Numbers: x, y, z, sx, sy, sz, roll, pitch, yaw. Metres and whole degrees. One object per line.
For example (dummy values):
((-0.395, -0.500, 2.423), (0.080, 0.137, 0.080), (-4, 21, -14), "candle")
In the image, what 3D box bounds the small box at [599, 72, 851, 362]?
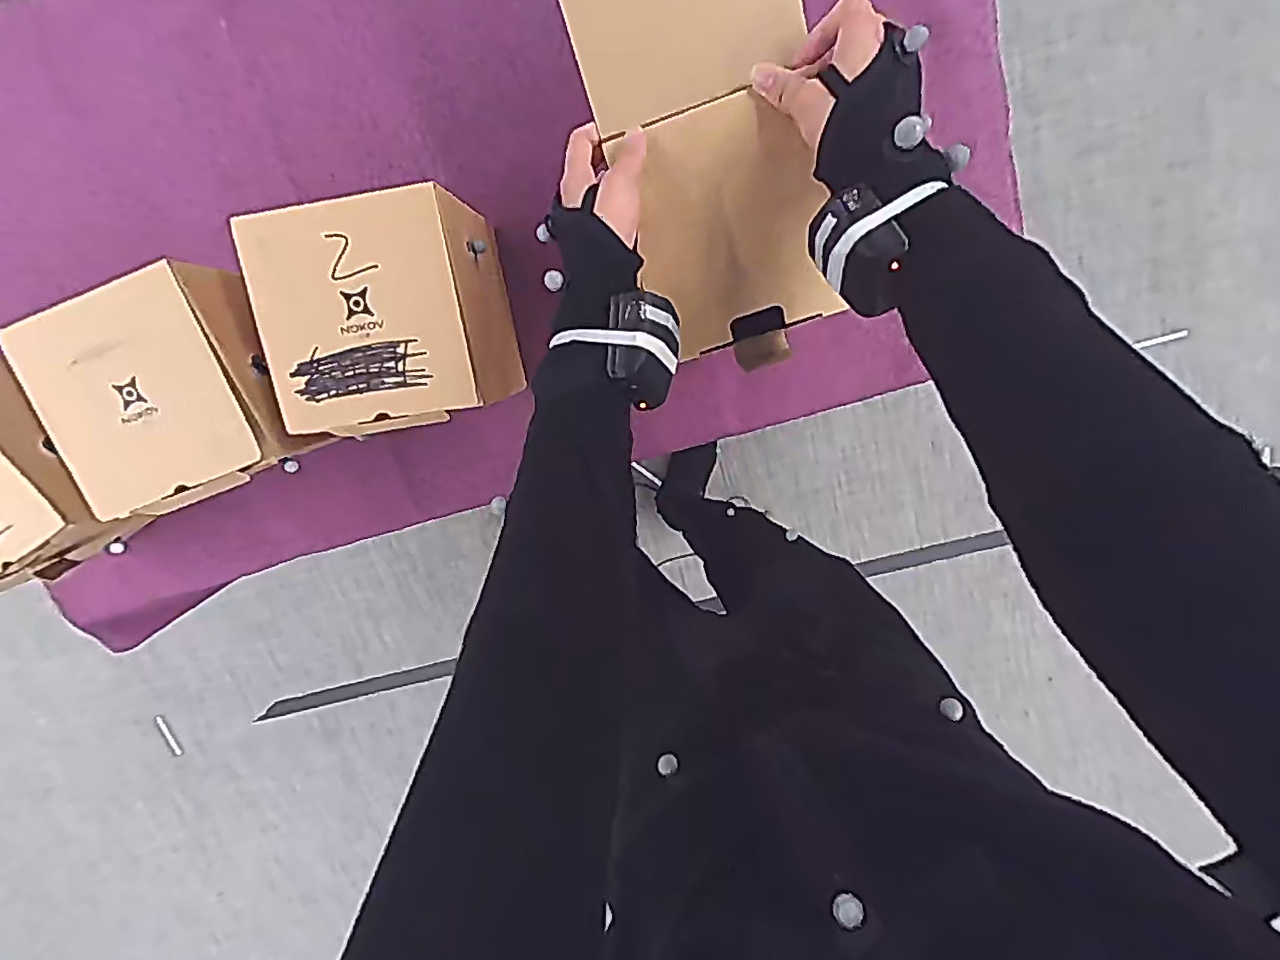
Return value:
((0.068, -0.217, 0.496), (0.168, 0.176, 0.179), (-16, 104, 5), "small box")
